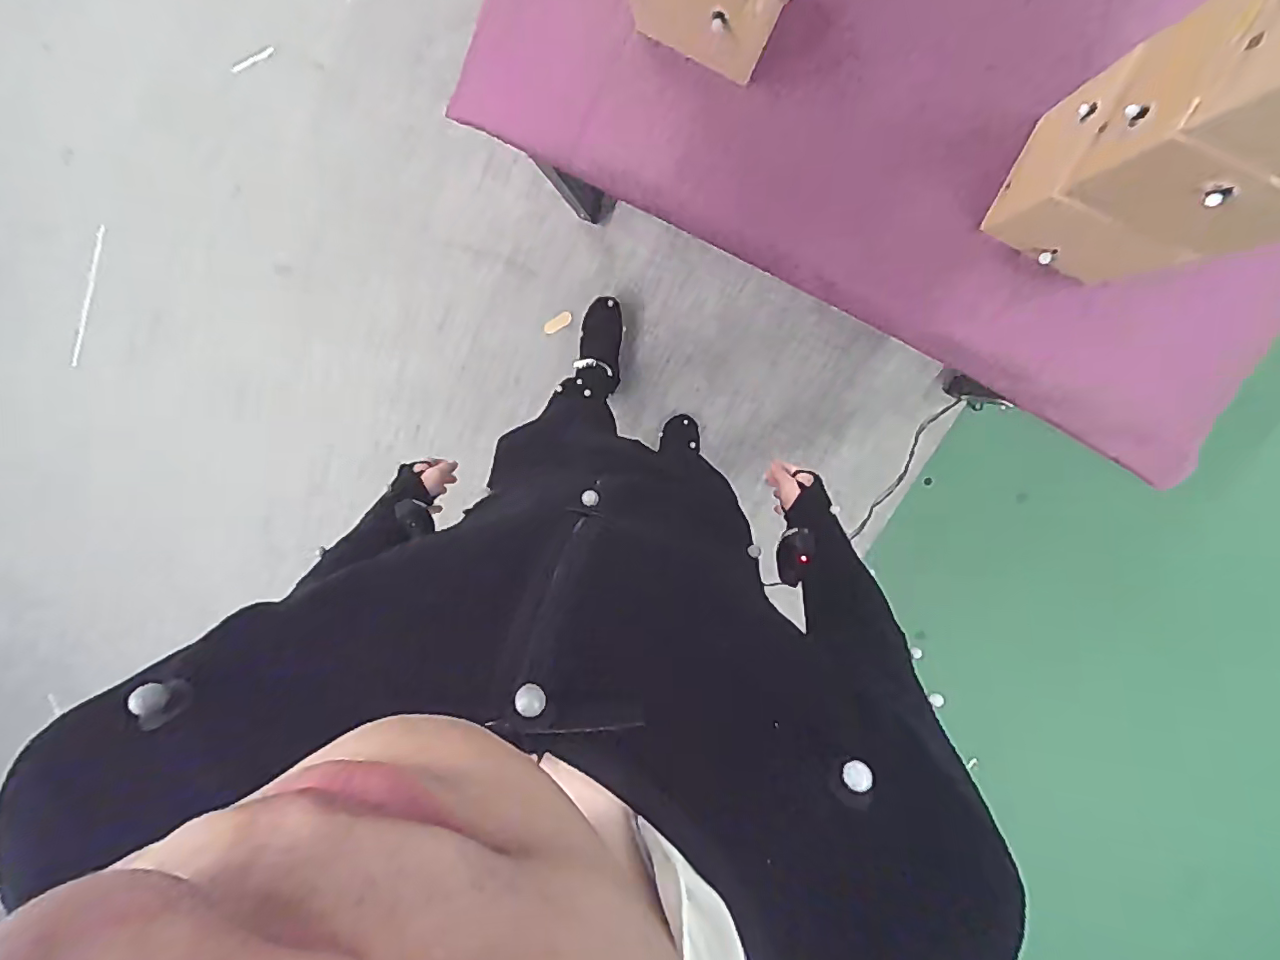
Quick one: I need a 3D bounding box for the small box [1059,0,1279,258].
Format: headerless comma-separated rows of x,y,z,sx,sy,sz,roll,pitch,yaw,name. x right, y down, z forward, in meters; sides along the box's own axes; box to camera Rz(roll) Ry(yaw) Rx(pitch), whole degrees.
0.567,-0.335,0.518,0.179,0.176,0.168,27,104,0,small box

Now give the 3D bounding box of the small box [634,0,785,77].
0.101,-0.646,0.666,0.179,0.176,0.168,27,103,-1,small box

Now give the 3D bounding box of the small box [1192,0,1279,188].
0.554,-0.301,0.358,0.179,0.176,0.168,26,105,0,small box

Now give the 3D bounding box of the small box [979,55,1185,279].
0.582,-0.368,0.678,0.179,0.176,0.168,26,103,0,small box
